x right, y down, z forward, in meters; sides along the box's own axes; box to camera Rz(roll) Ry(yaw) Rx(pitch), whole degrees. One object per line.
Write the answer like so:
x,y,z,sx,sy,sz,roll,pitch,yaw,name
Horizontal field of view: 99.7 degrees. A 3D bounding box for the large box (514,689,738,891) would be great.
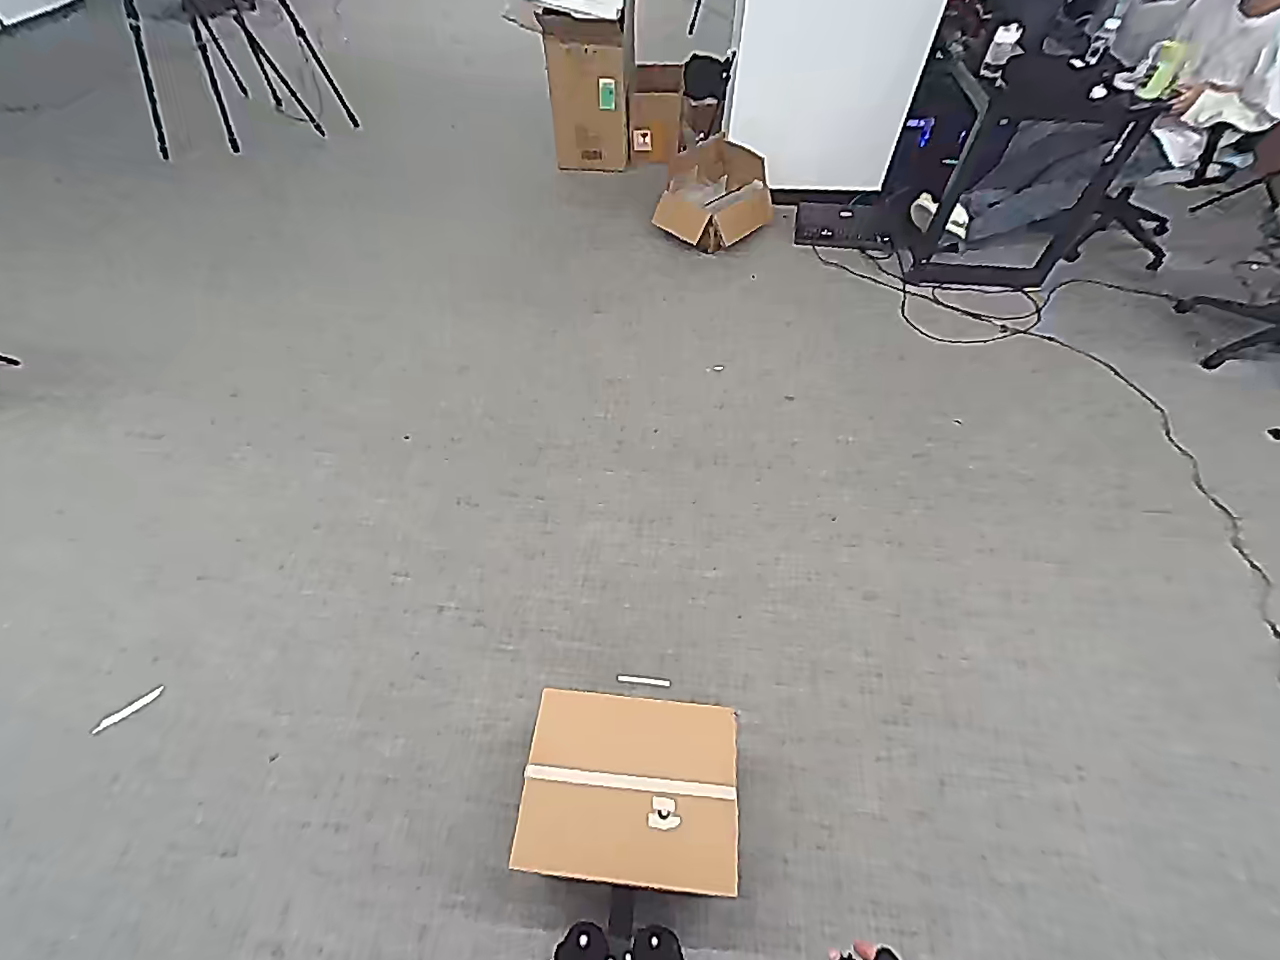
-0.019,0.663,1.151,0.408,0.320,0.320,6,54,2,large box
